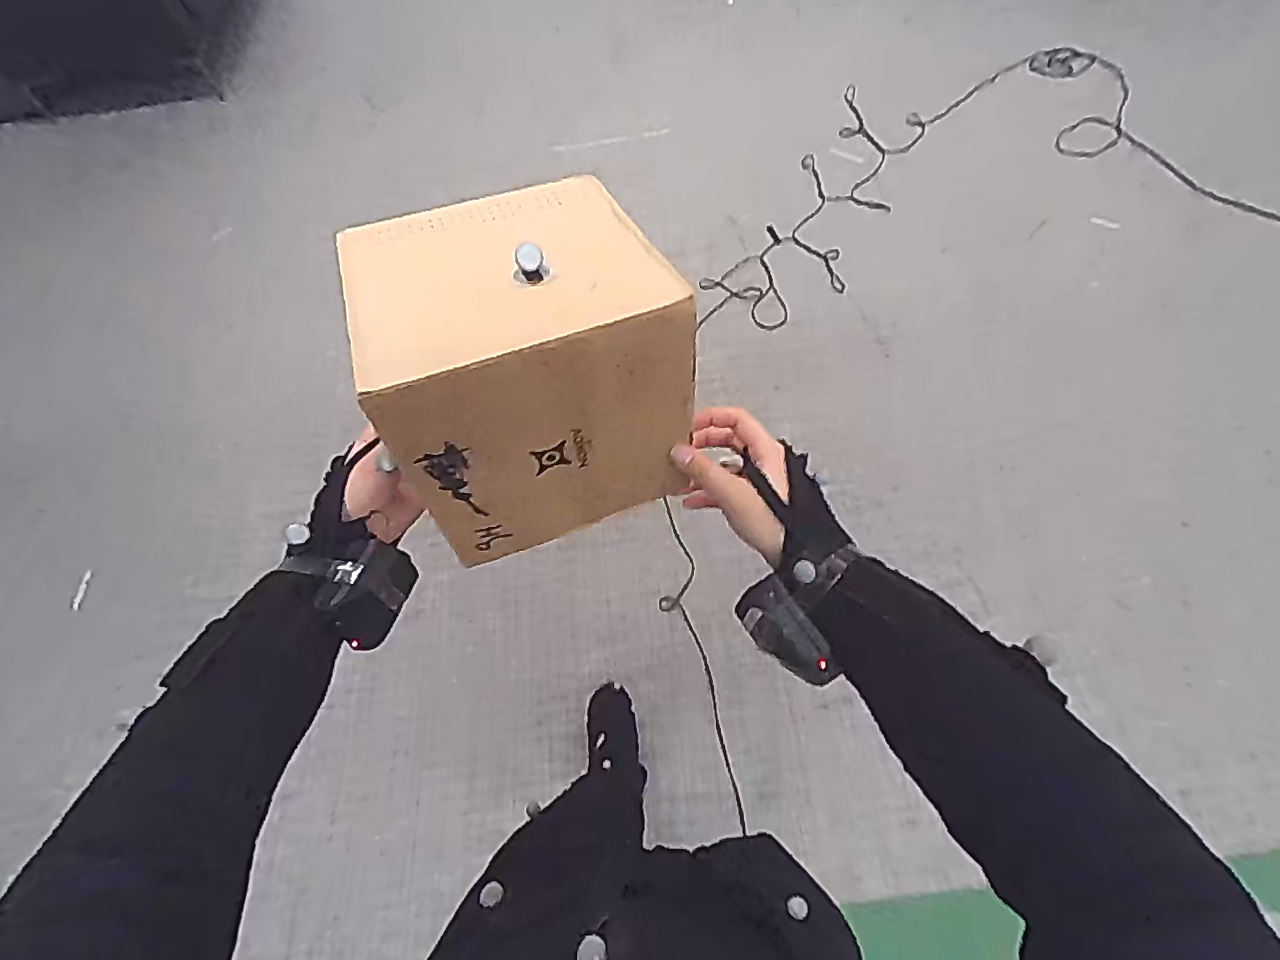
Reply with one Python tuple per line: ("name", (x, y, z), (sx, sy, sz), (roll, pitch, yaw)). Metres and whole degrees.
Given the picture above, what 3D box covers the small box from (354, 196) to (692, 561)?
("small box", (-0.079, -0.077, 0.387), (0.179, 0.168, 0.176), (-19, 52, -12))
